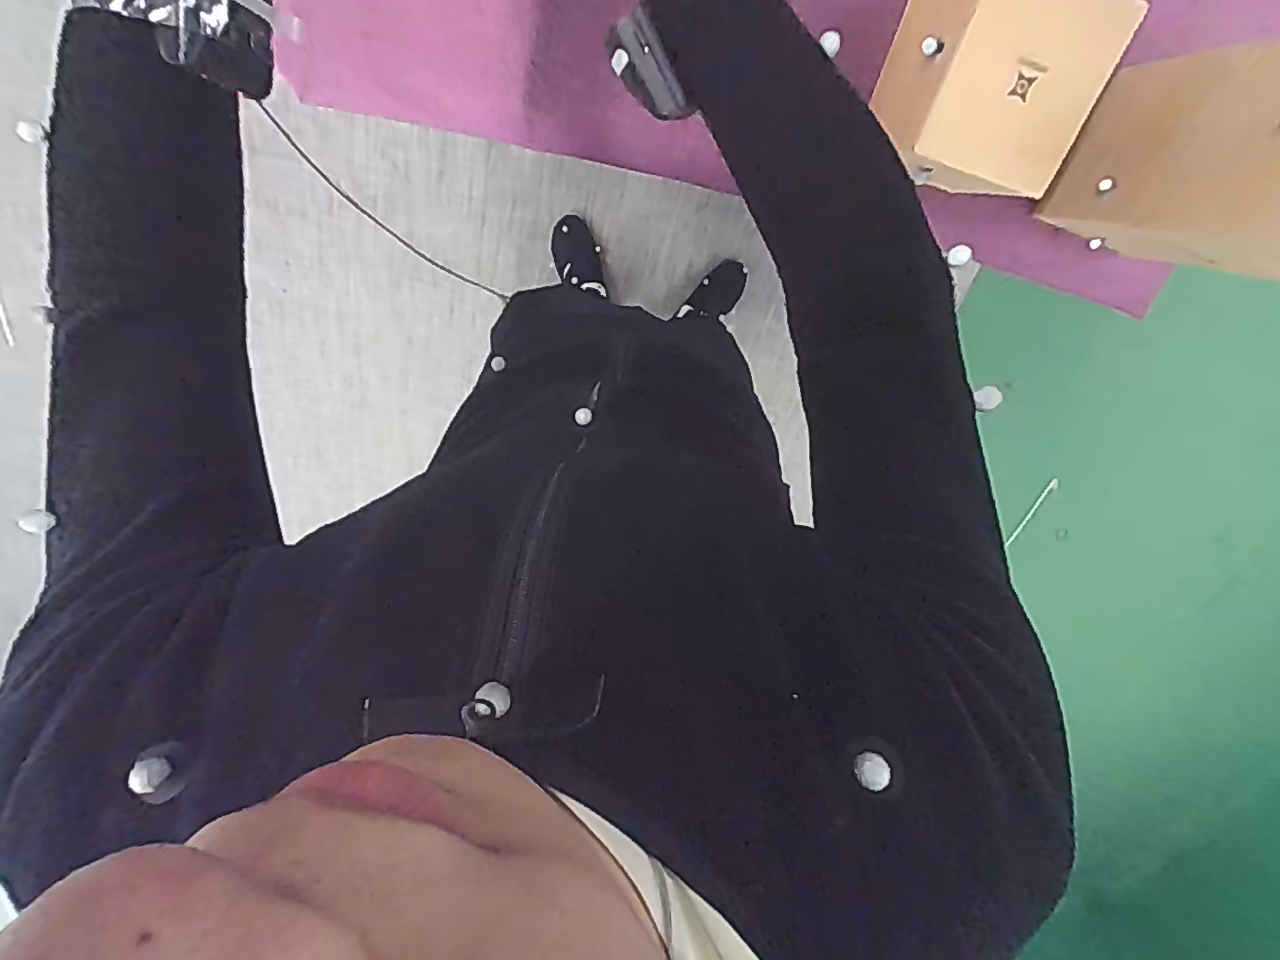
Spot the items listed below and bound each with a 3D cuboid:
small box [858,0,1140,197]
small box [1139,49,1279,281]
[{"bbox_3d":[0.374,-0.438,0.609,0.168,0.176,0.179,12,117,-10],"label":"small box"},{"bbox_3d":[0.657,-0.297,0.517,0.168,0.176,0.179,14,117,-11],"label":"small box"}]
